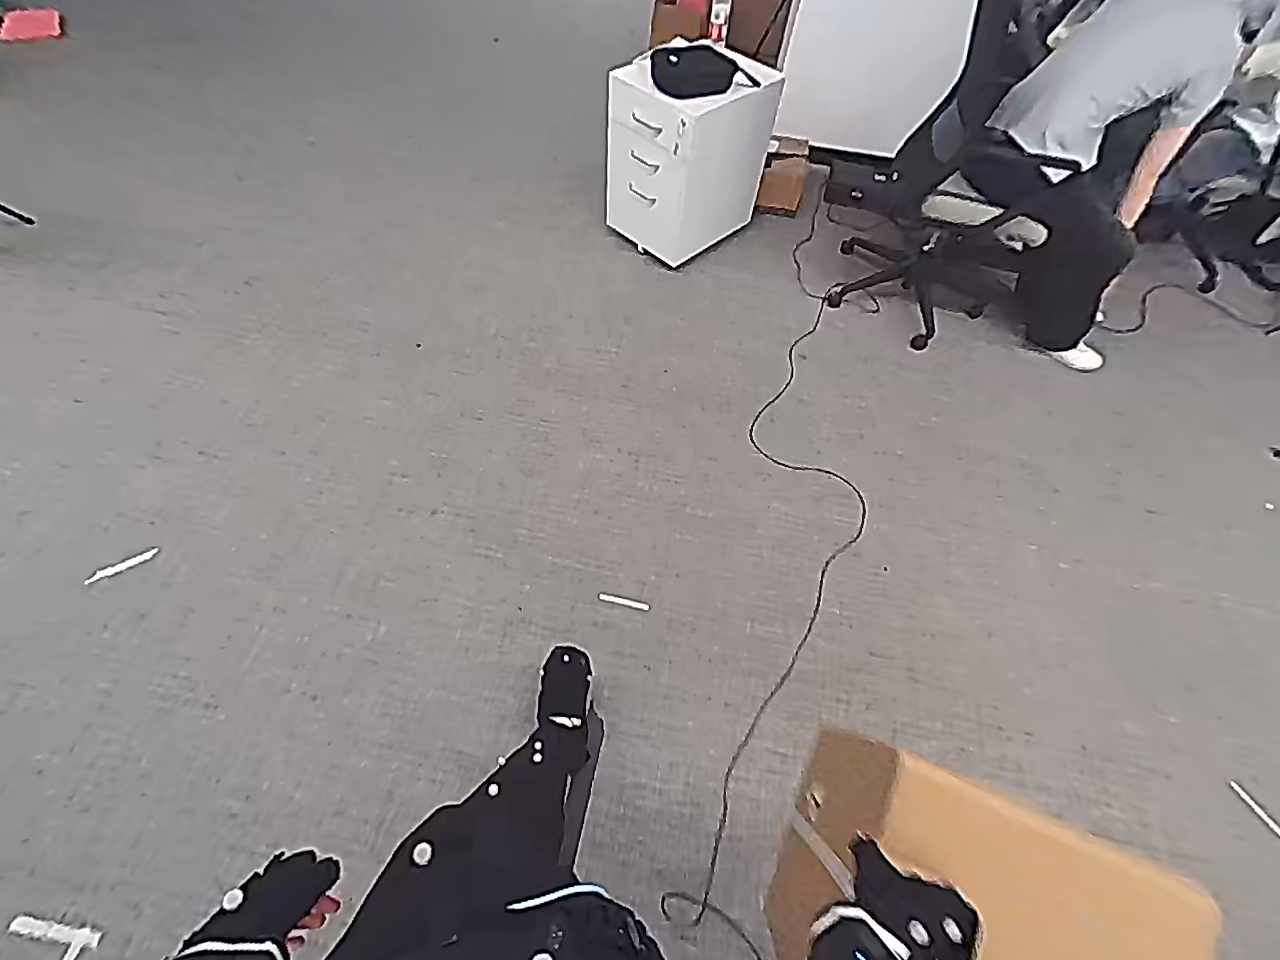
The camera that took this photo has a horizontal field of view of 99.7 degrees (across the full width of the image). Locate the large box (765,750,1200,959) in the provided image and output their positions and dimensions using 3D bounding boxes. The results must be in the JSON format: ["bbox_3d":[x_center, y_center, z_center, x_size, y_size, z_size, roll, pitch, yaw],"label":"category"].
[{"bbox_3d":[0.383,0.589,0.704,0.320,0.408,0.320,24,72,16],"label":"large box"}]
